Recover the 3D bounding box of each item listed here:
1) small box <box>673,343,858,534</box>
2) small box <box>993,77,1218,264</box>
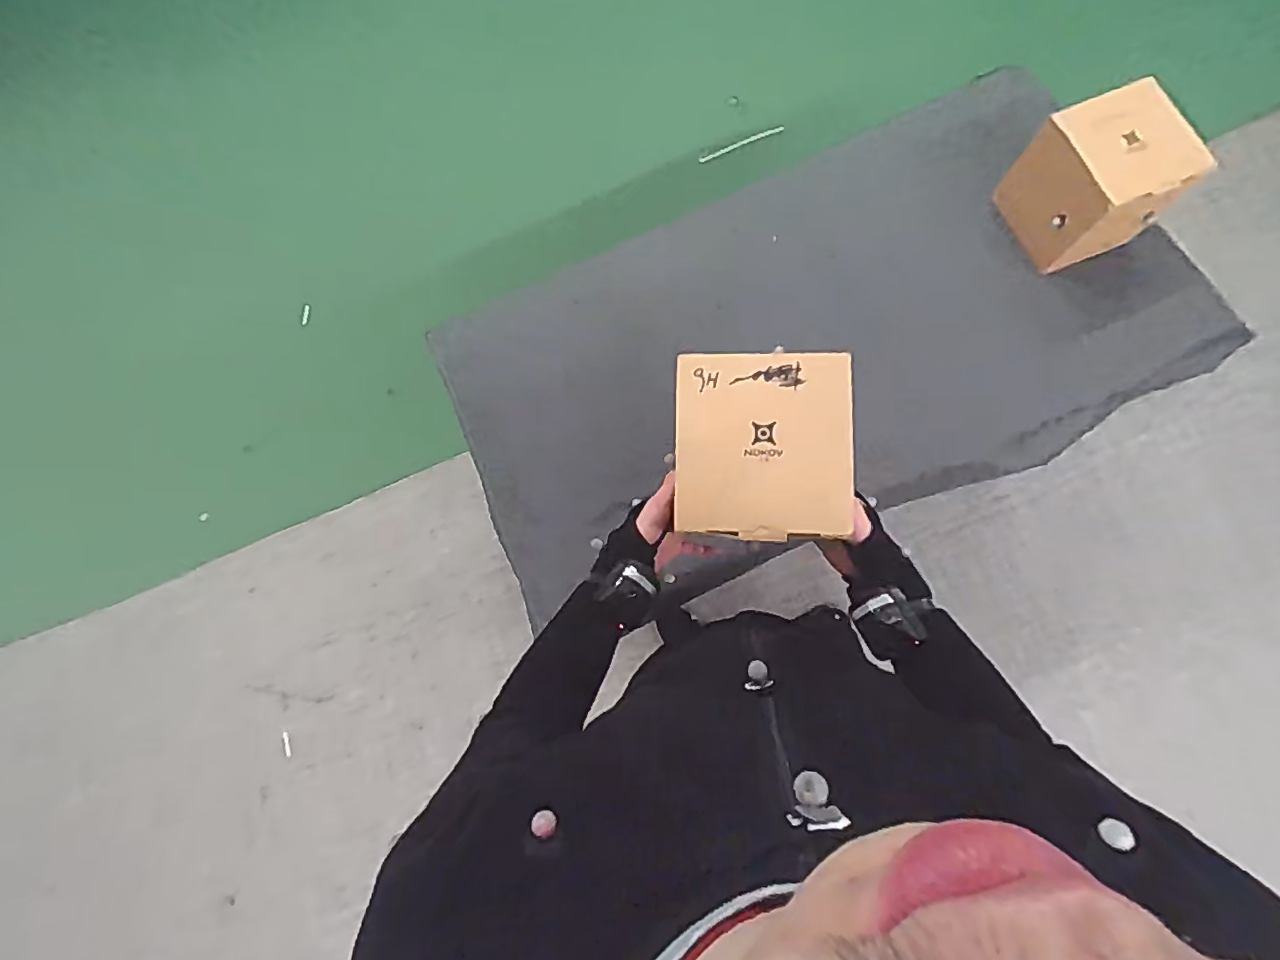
[{"bbox_3d":[0.123,-0.033,0.577,0.168,0.176,0.179,2,83,5],"label":"small box"},{"bbox_3d":[0.714,-0.472,0.855,0.168,0.176,0.179,-21,75,-1],"label":"small box"}]
